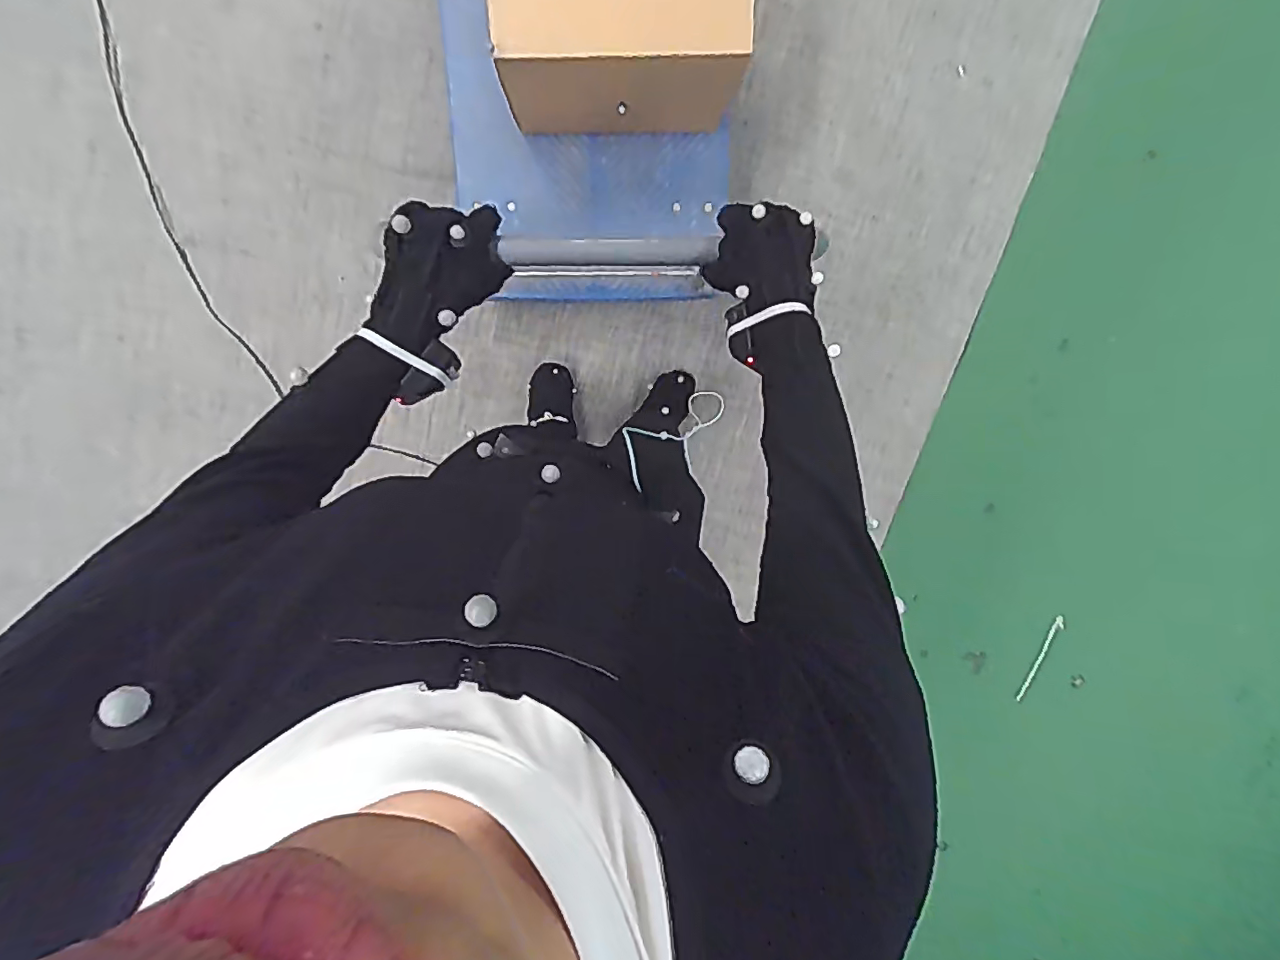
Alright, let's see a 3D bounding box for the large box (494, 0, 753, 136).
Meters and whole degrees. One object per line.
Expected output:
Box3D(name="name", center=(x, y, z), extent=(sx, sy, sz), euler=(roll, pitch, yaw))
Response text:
Box3D(name="large box", center=(-0.032, -0.840, 0.954), extent=(0.408, 0.320, 0.320), euler=(-3, 103, -2))
